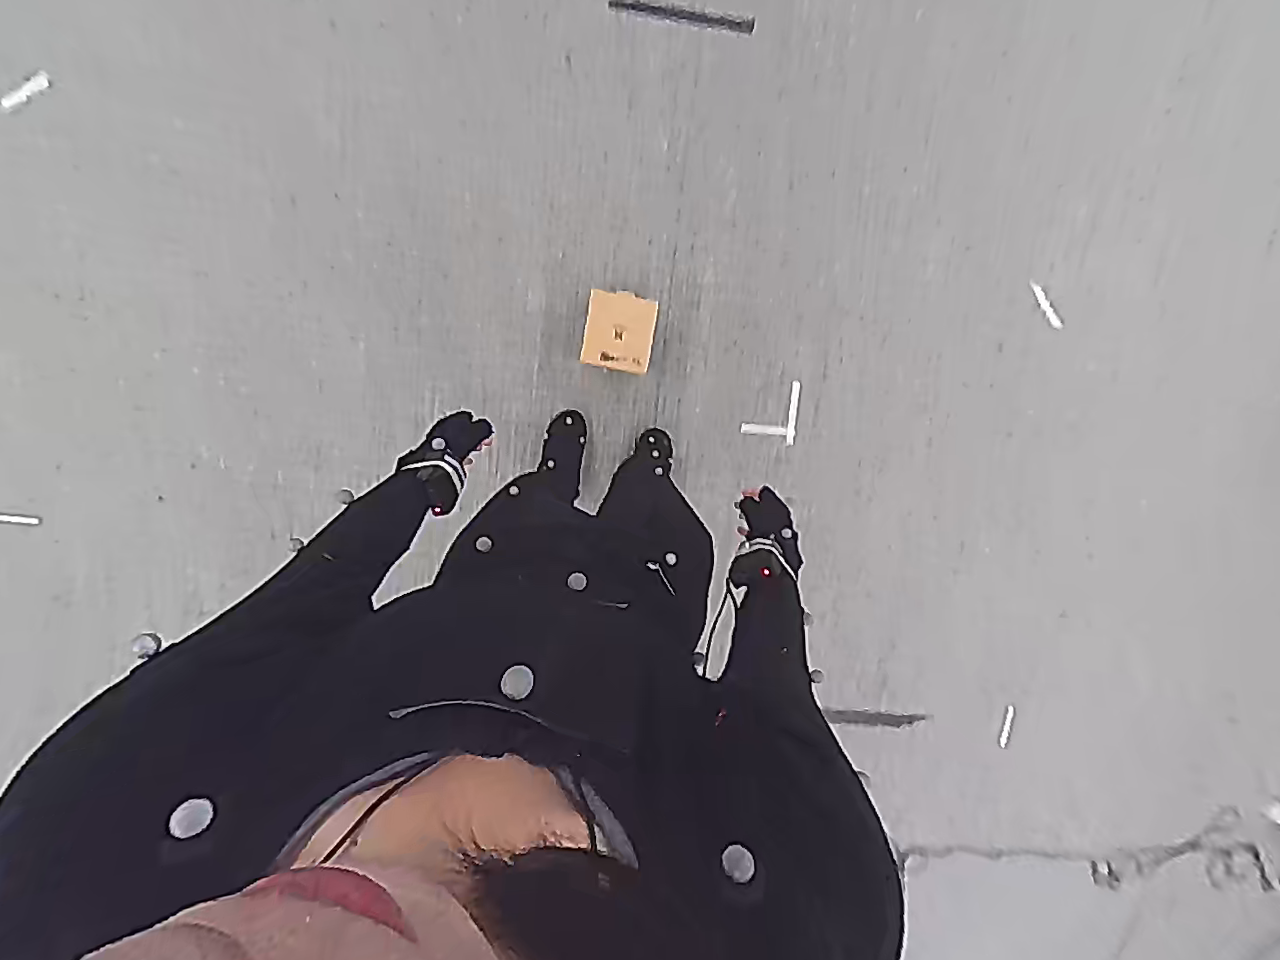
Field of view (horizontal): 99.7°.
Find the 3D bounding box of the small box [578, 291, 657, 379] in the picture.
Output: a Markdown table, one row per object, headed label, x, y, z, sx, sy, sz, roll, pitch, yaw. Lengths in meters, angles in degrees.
| label | x | y | z | sx | sy | sz | roll | pitch | yaw |
| --- | --- | --- | --- | --- | --- | --- | --- | --- | --- |
| small box | -0.064 | -0.360 | 1.373 | 0.168 | 0.176 | 0.179 | 10 | 98 | -7 |
